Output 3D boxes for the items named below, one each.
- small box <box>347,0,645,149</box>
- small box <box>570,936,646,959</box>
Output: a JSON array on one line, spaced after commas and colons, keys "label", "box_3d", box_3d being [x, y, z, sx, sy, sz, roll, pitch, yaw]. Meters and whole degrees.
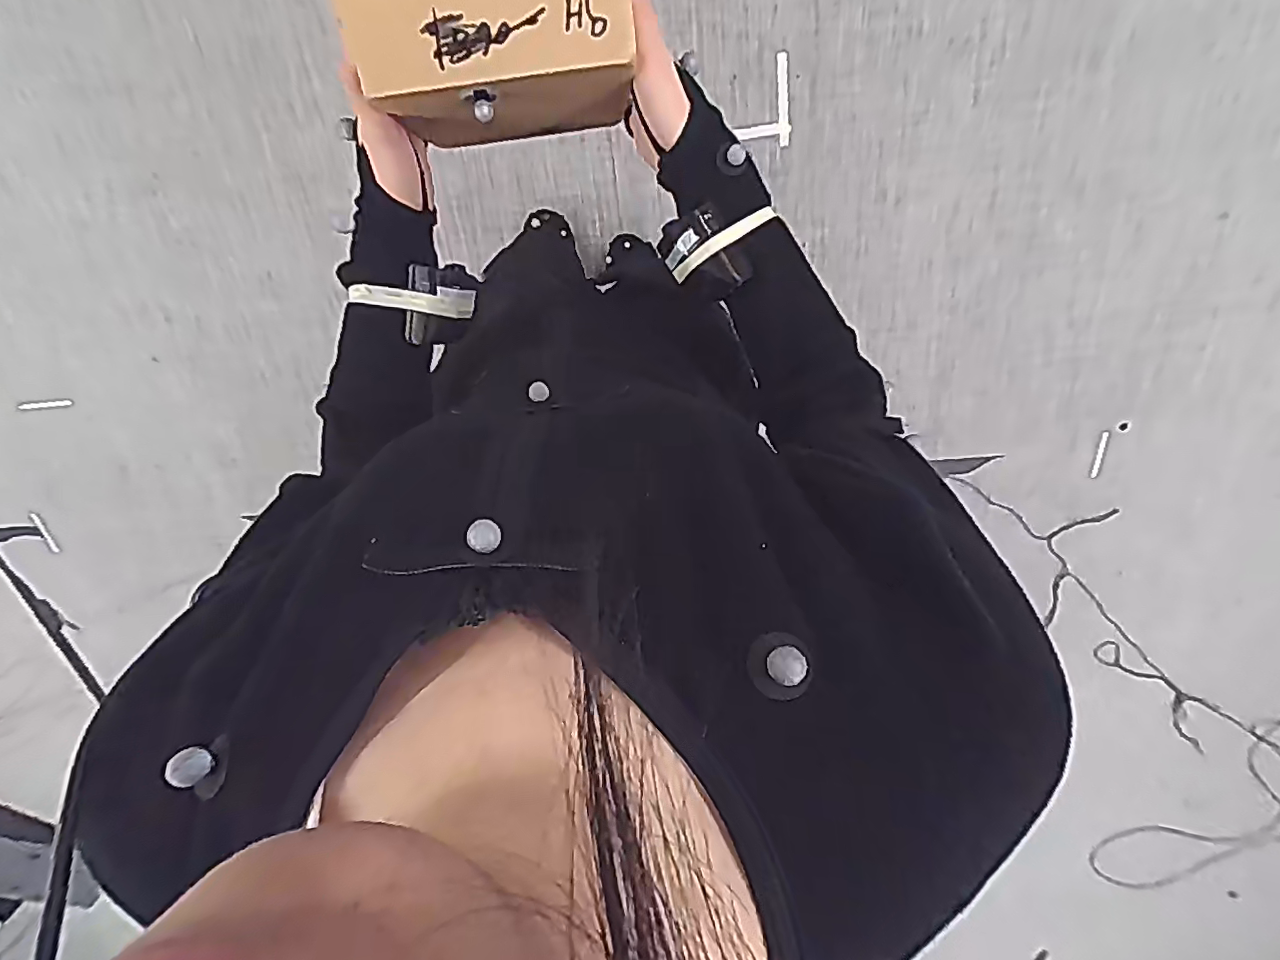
[{"label": "small box", "box_3d": [-0.094, -0.345, 0.361, 0.168, 0.176, 0.179, -9, 113, -2]}, {"label": "small box", "box_3d": [-0.070, 1.146, 1.194, 0.168, 0.176, 0.179, -3, 117, 3]}]
